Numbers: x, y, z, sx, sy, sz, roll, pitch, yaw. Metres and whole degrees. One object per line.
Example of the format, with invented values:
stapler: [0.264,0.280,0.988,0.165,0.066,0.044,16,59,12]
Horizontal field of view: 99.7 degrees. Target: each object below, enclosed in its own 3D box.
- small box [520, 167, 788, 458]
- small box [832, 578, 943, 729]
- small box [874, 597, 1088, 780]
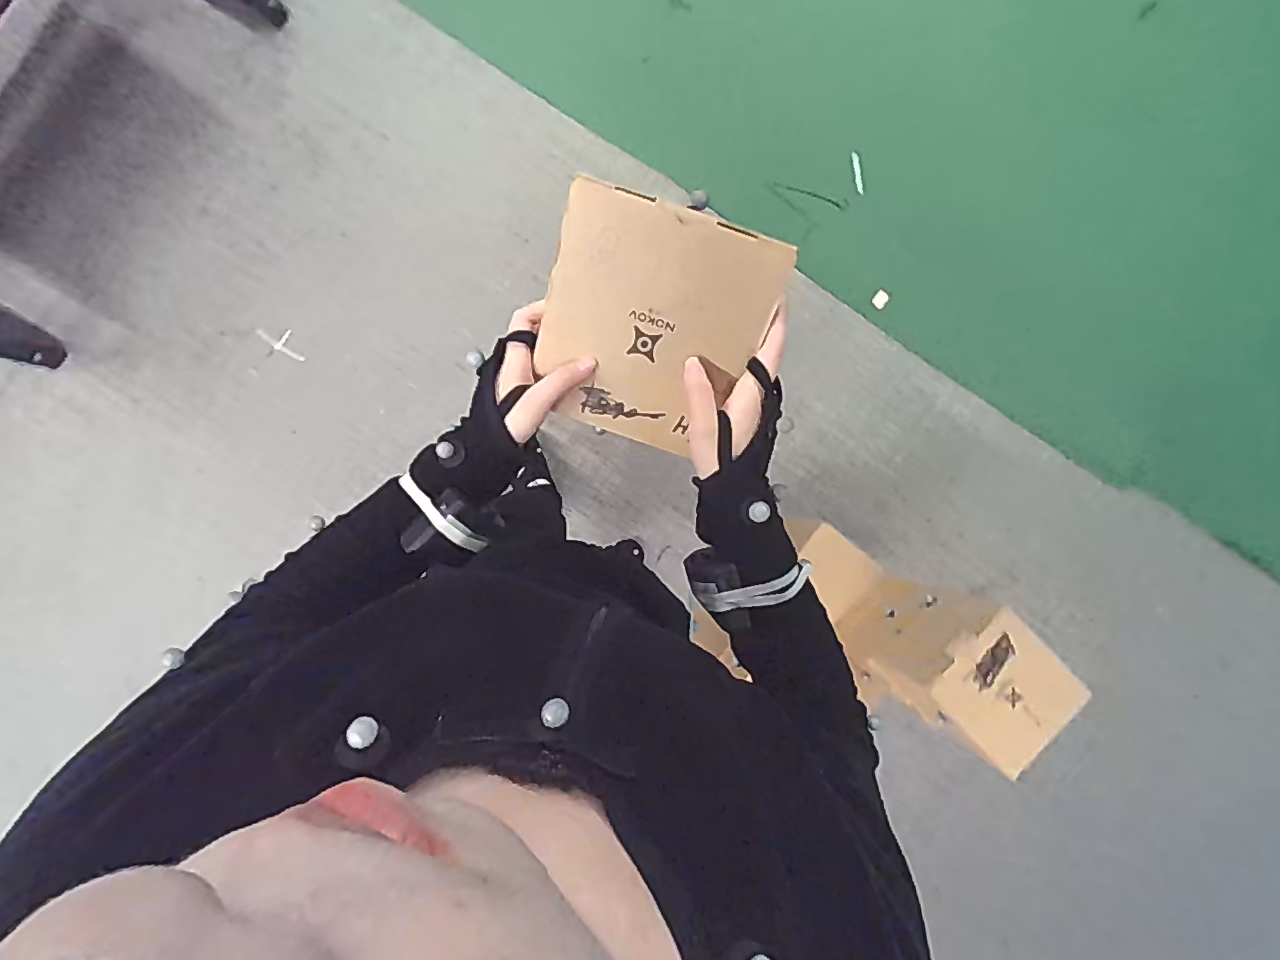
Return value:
small box: [0.013,-0.149,0.480,0.168,0.176,0.179,19,116,1]
small box: [0.486,0.301,0.983,0.168,0.176,0.179,45,88,0]
small box: [0.497,0.295,0.818,0.168,0.176,0.179,-44,92,-3]
